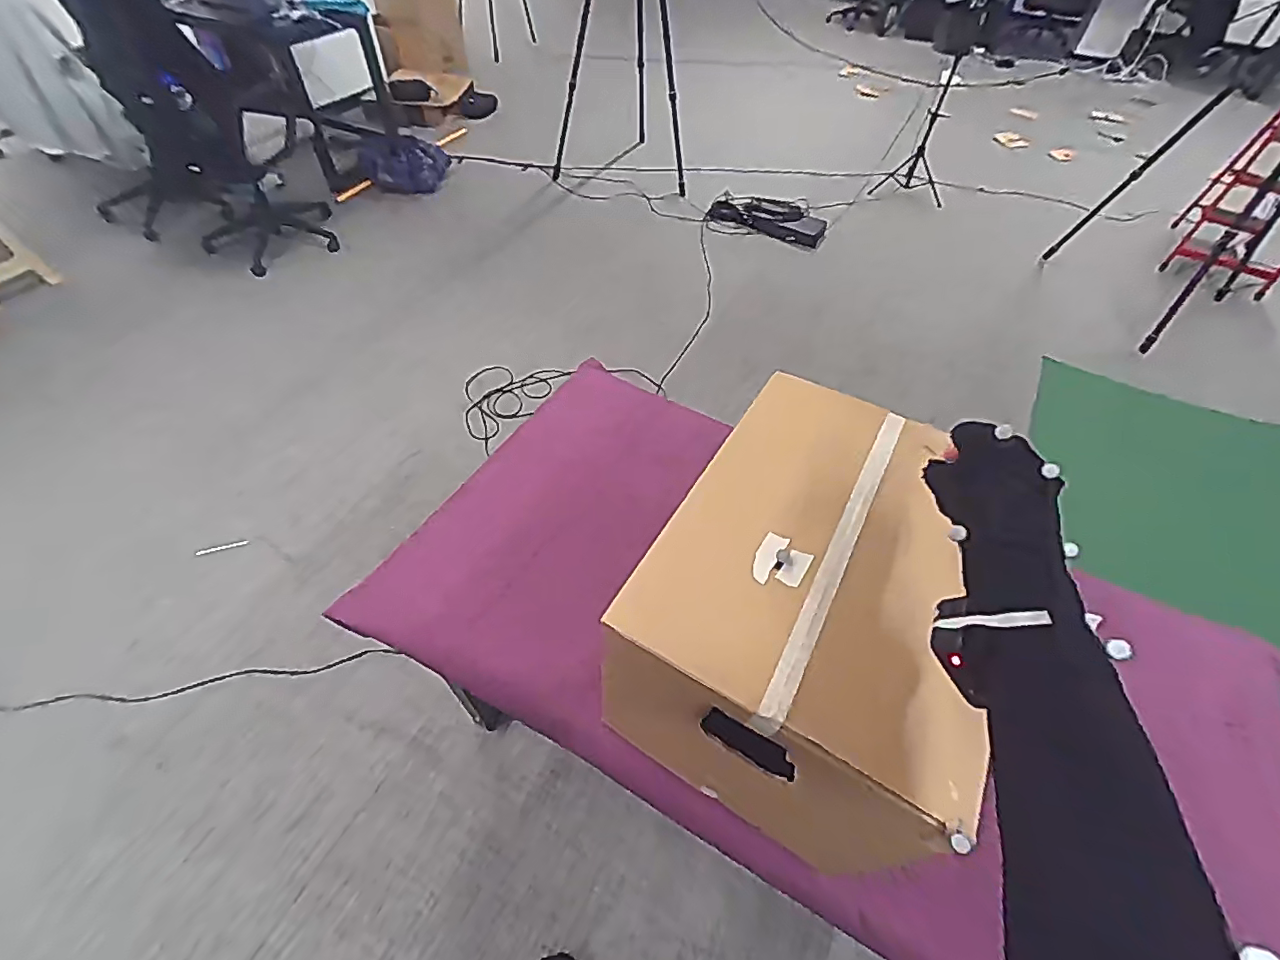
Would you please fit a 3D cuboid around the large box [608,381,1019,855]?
[{"bbox_3d":[0.194,0.156,0.666,0.320,0.320,0.408,27,55,17],"label":"large box"}]
